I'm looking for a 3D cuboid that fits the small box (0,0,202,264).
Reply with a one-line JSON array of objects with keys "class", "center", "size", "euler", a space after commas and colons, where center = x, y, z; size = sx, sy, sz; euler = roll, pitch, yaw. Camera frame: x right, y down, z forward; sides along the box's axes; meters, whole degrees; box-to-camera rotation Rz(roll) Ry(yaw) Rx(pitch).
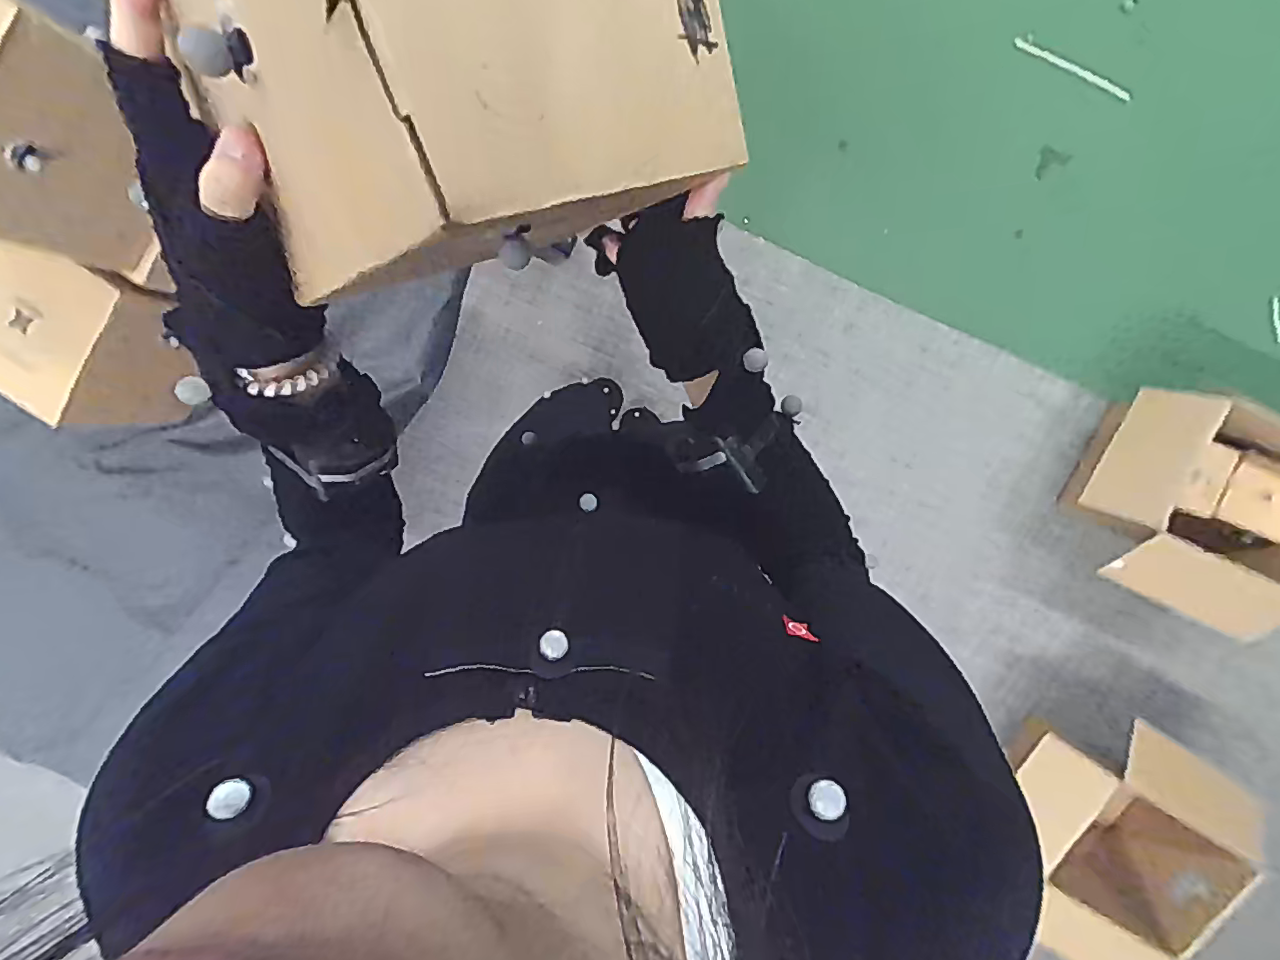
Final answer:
[{"class": "small box", "center": [-0.550, -0.323, 0.478], "size": [0.168, 0.176, 0.179], "euler": [34, 98, -3]}]
